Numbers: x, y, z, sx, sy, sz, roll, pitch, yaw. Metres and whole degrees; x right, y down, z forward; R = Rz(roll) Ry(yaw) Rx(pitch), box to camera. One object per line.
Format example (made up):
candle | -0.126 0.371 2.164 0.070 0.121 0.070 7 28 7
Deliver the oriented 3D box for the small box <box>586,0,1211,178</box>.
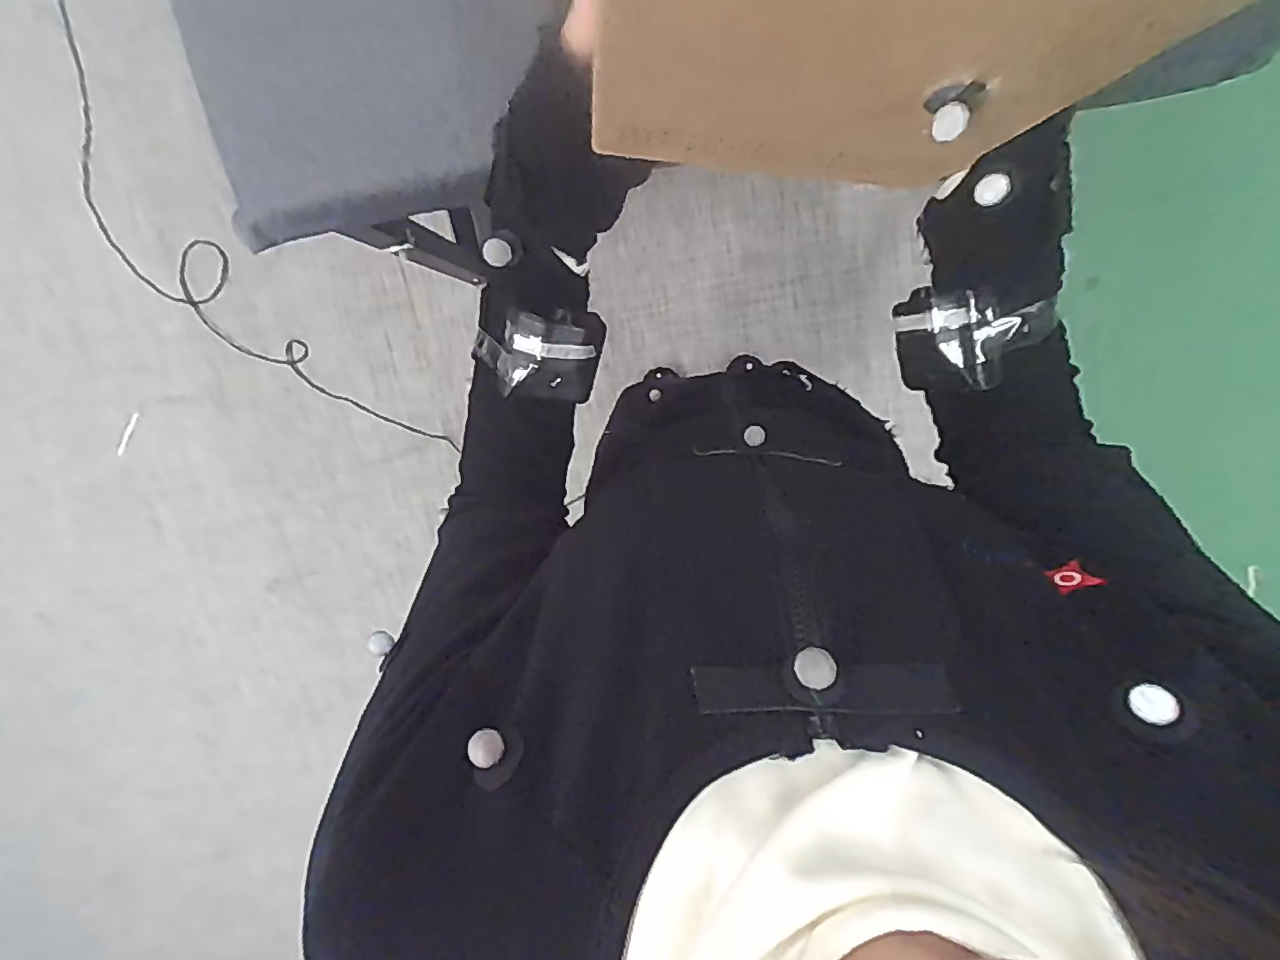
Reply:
small box | 0.072 -0.227 0.191 0.179 0.176 0.168 2 100 -5
